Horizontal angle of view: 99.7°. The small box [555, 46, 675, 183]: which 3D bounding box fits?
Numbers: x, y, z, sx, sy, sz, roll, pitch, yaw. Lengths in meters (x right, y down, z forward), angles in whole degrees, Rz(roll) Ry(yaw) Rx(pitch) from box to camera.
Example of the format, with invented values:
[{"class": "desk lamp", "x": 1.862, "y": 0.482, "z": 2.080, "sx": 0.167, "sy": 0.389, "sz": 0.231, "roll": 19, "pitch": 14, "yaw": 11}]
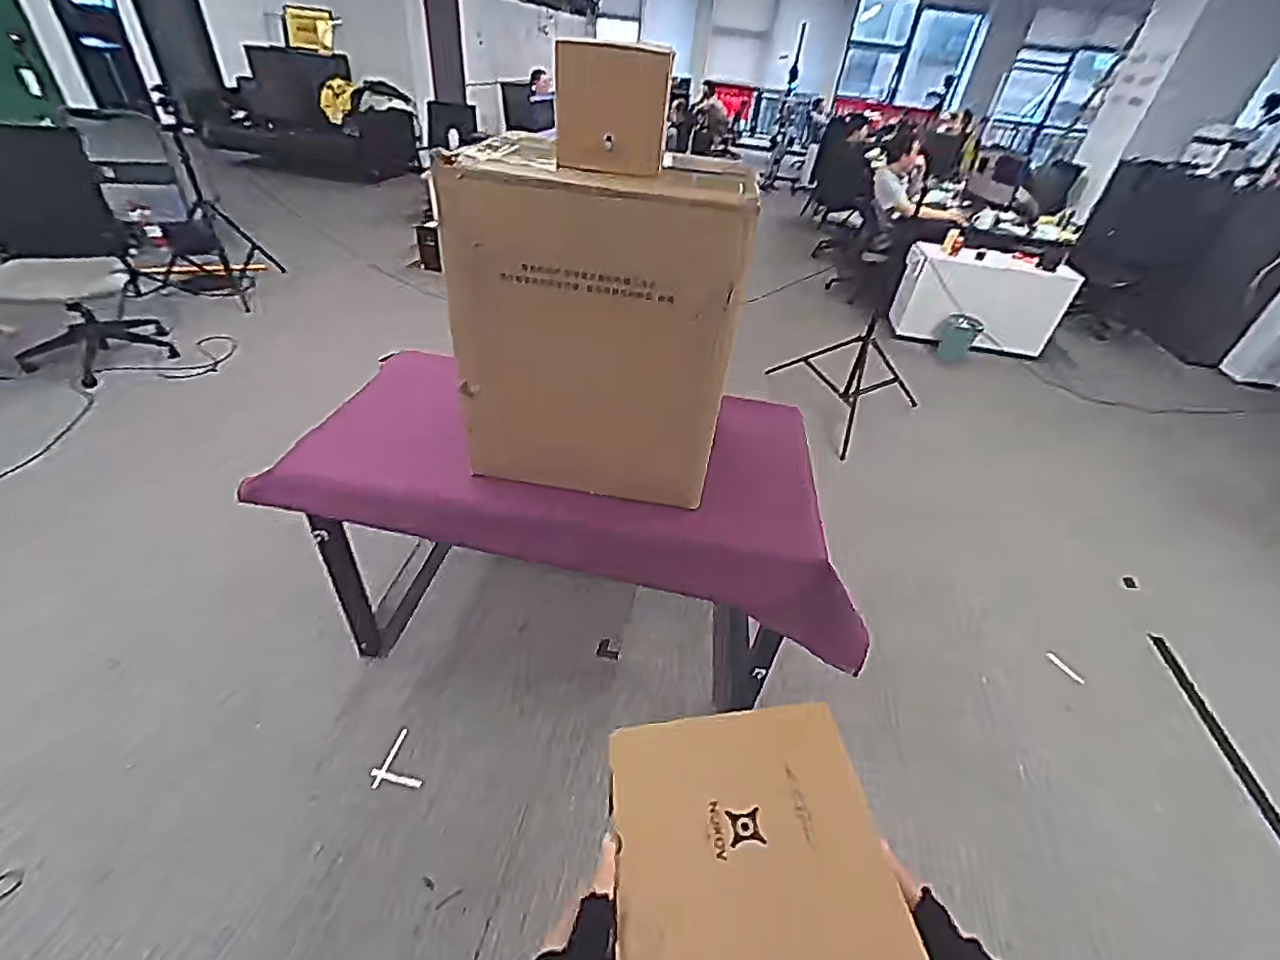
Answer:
[{"class": "small box", "x": -0.042, "y": -0.617, "z": 0.917, "sx": 0.179, "sy": 0.176, "sz": 0.168, "roll": 7, "pitch": 39, "yaw": 0}]
